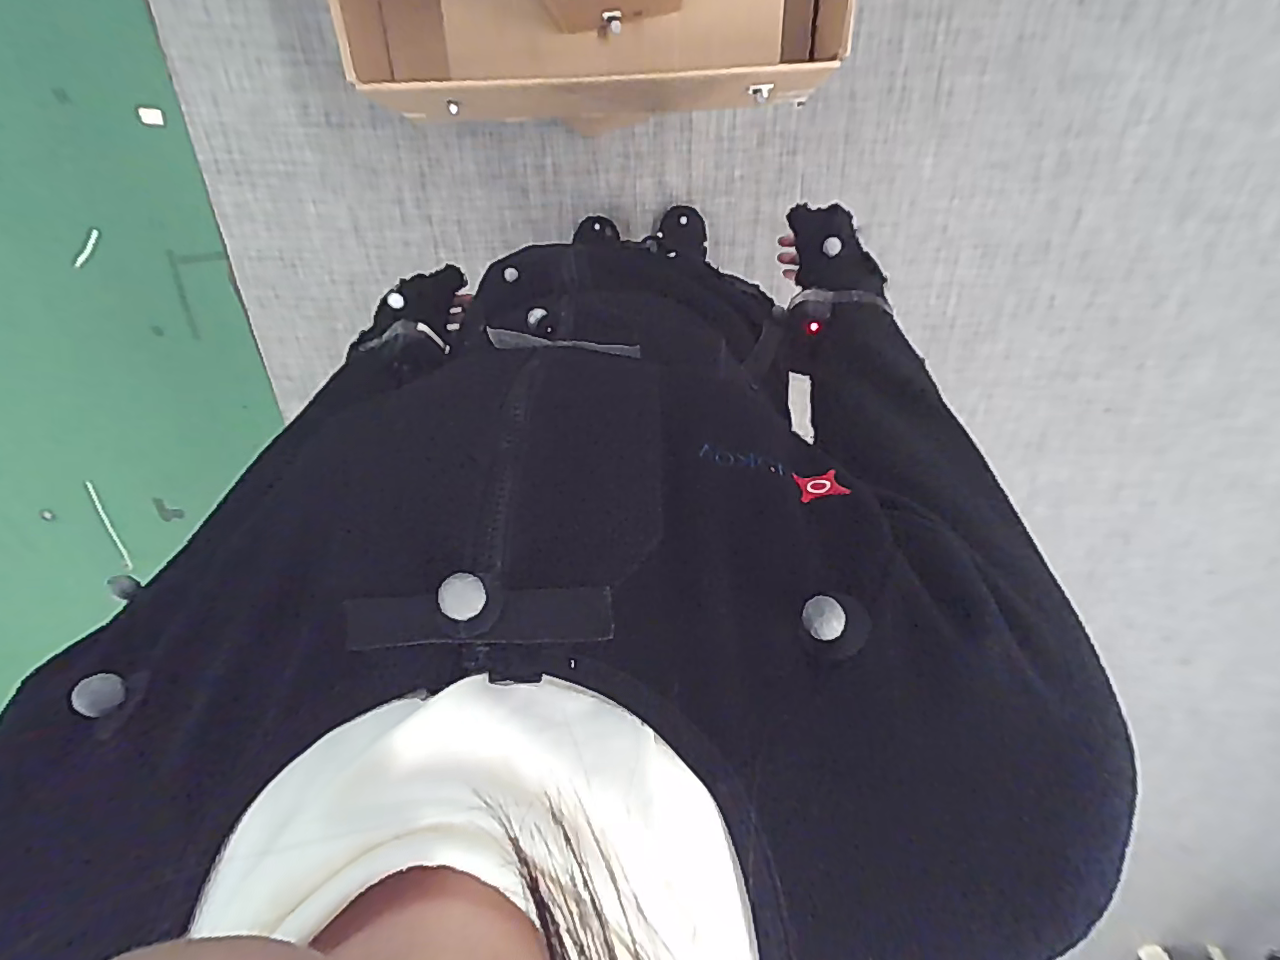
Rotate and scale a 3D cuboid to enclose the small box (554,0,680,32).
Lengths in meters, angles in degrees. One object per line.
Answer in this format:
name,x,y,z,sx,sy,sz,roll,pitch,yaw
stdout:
small box,-0.040,-0.674,0.638,0.168,0.176,0.179,-6,117,7
